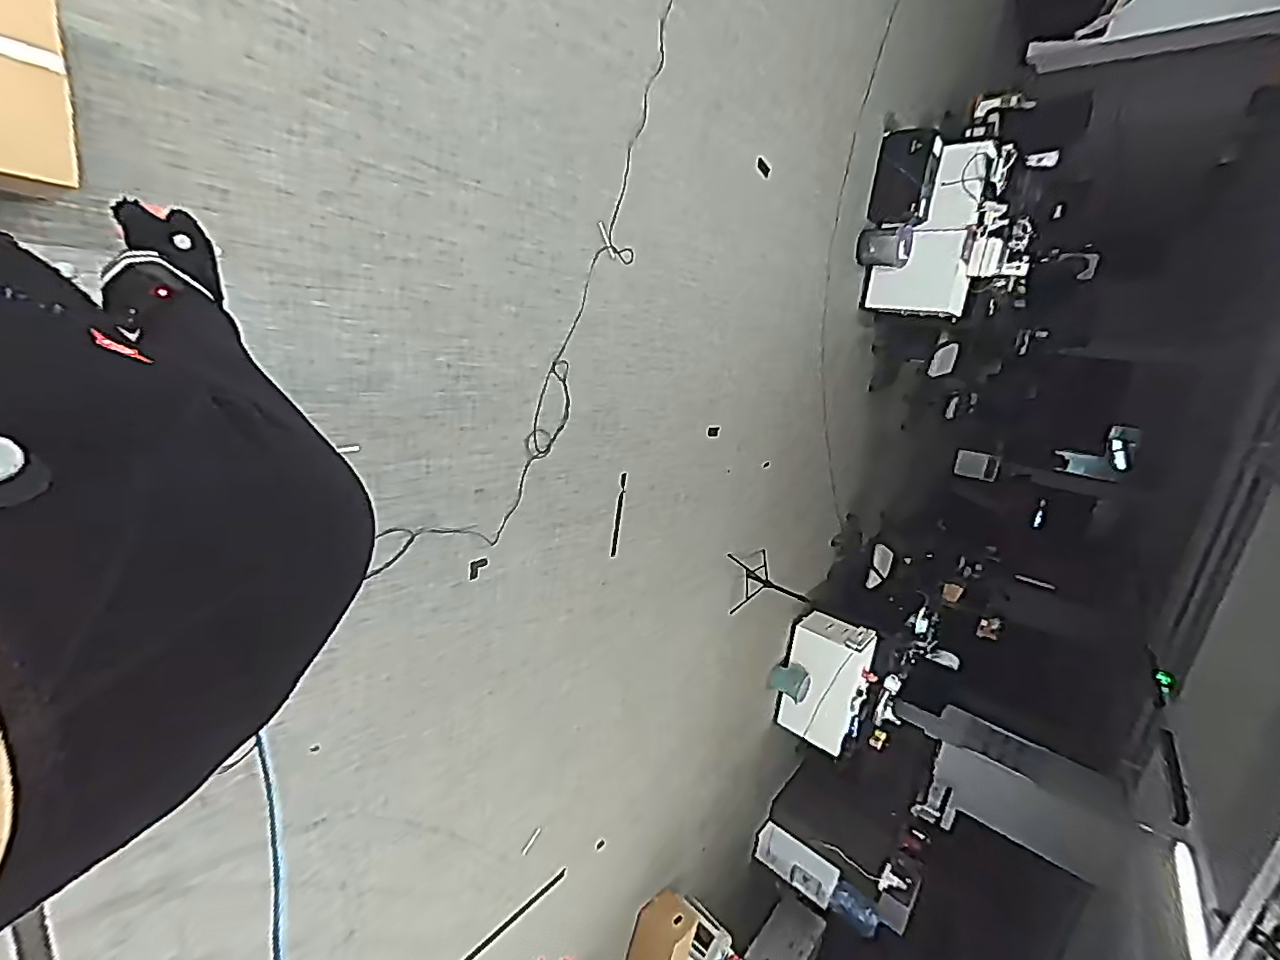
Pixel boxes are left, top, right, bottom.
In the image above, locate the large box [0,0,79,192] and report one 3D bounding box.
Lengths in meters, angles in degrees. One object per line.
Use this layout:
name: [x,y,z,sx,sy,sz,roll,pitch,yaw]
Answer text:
large box: [-1.049,-0.597,0.692,0.408,0.320,0.320,-11,114,-51]
